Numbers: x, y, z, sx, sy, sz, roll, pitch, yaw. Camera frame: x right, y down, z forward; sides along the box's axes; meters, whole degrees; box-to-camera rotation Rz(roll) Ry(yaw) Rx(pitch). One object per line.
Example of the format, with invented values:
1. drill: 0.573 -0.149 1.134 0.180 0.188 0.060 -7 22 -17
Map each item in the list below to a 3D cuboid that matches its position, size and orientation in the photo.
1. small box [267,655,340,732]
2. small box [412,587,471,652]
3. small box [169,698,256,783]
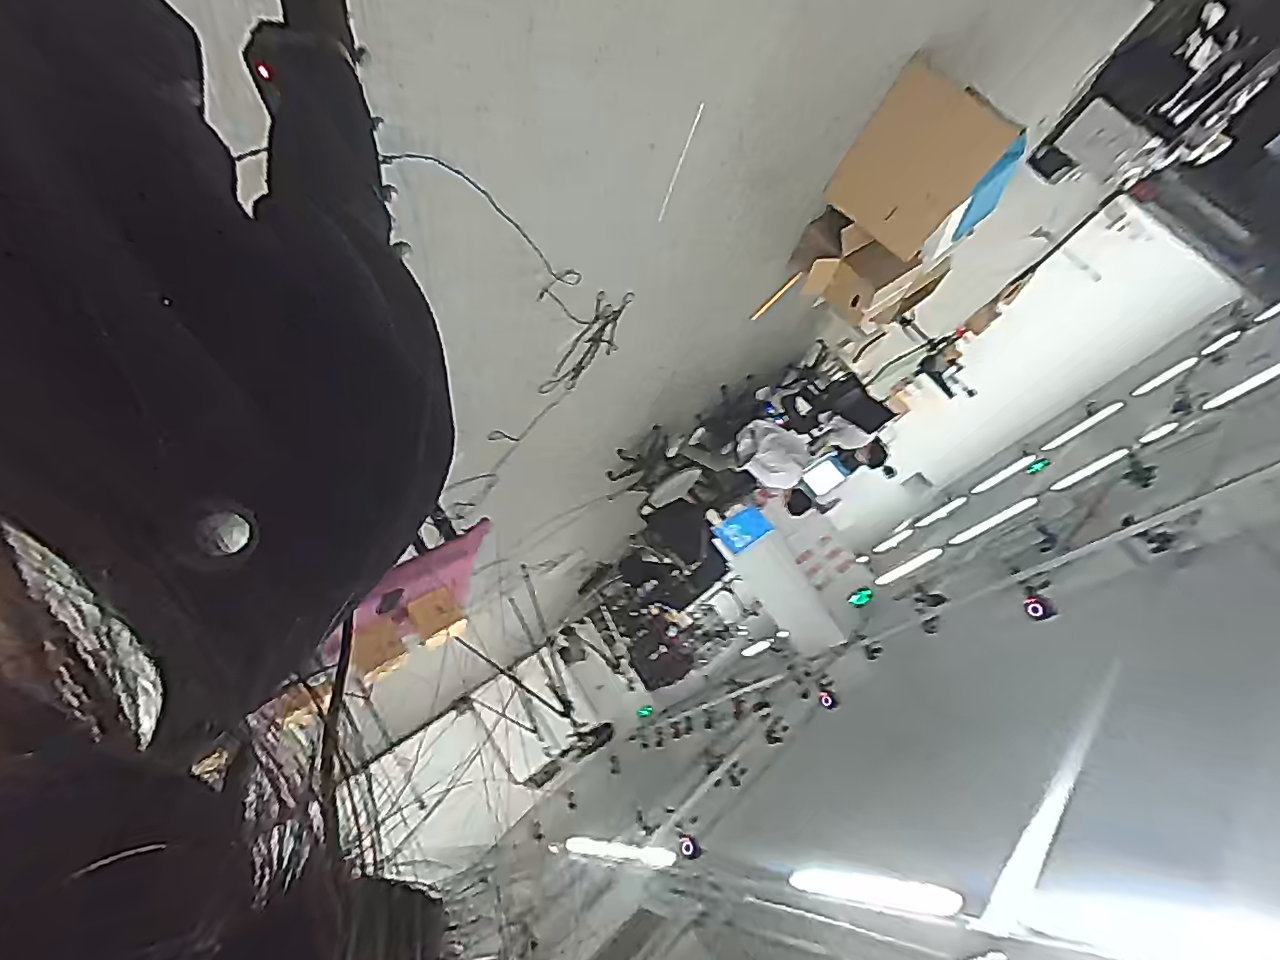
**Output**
1. small box: -1.164 0.734 1.873 0.168 0.176 0.179 -24 160 -38
2. small box: -0.799 0.553 2.164 0.168 0.176 0.179 -28 162 -32
3. small box: -1.352 0.822 1.715 0.168 0.176 0.179 -26 161 -40
